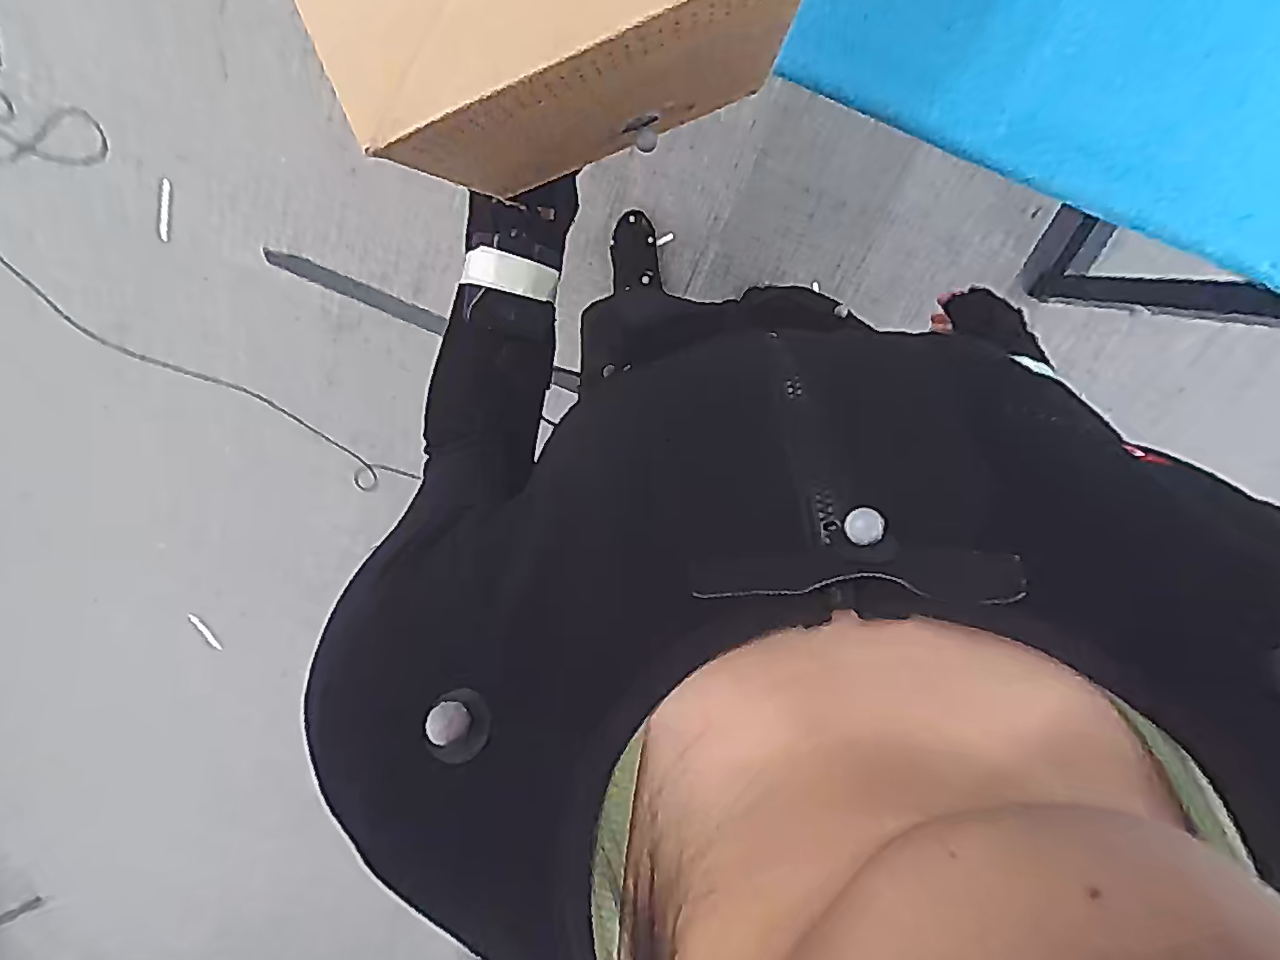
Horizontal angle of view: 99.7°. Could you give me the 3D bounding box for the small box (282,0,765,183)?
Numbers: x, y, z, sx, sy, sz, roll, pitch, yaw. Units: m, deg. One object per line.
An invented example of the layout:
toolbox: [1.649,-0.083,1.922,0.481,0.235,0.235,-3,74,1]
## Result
small box: [-0.047,-0.252,0.230,0.179,0.176,0.168,-16,110,11]

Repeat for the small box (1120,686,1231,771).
small box: [1.618,0.748,1.648,0.168,0.176,0.179,-8,113,8]

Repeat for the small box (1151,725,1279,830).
small box: [1.591,0.813,1.497,0.168,0.176,0.179,-41,105,21]
